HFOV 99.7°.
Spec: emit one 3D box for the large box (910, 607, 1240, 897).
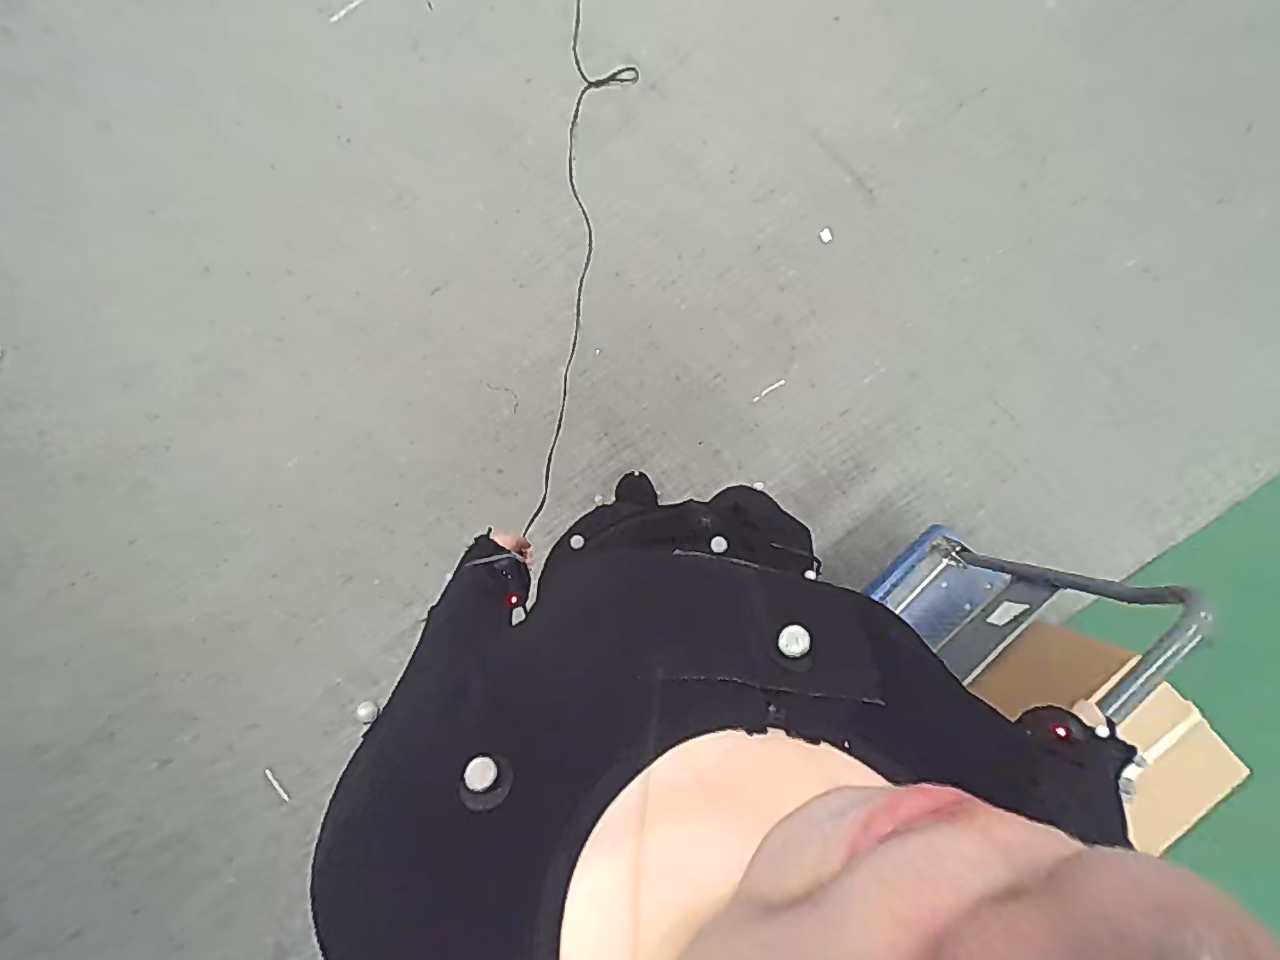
[{"bbox_3d":[0.900,0.551,1.177,0.408,0.320,0.320,-43,89,1],"label":"large box"}]
